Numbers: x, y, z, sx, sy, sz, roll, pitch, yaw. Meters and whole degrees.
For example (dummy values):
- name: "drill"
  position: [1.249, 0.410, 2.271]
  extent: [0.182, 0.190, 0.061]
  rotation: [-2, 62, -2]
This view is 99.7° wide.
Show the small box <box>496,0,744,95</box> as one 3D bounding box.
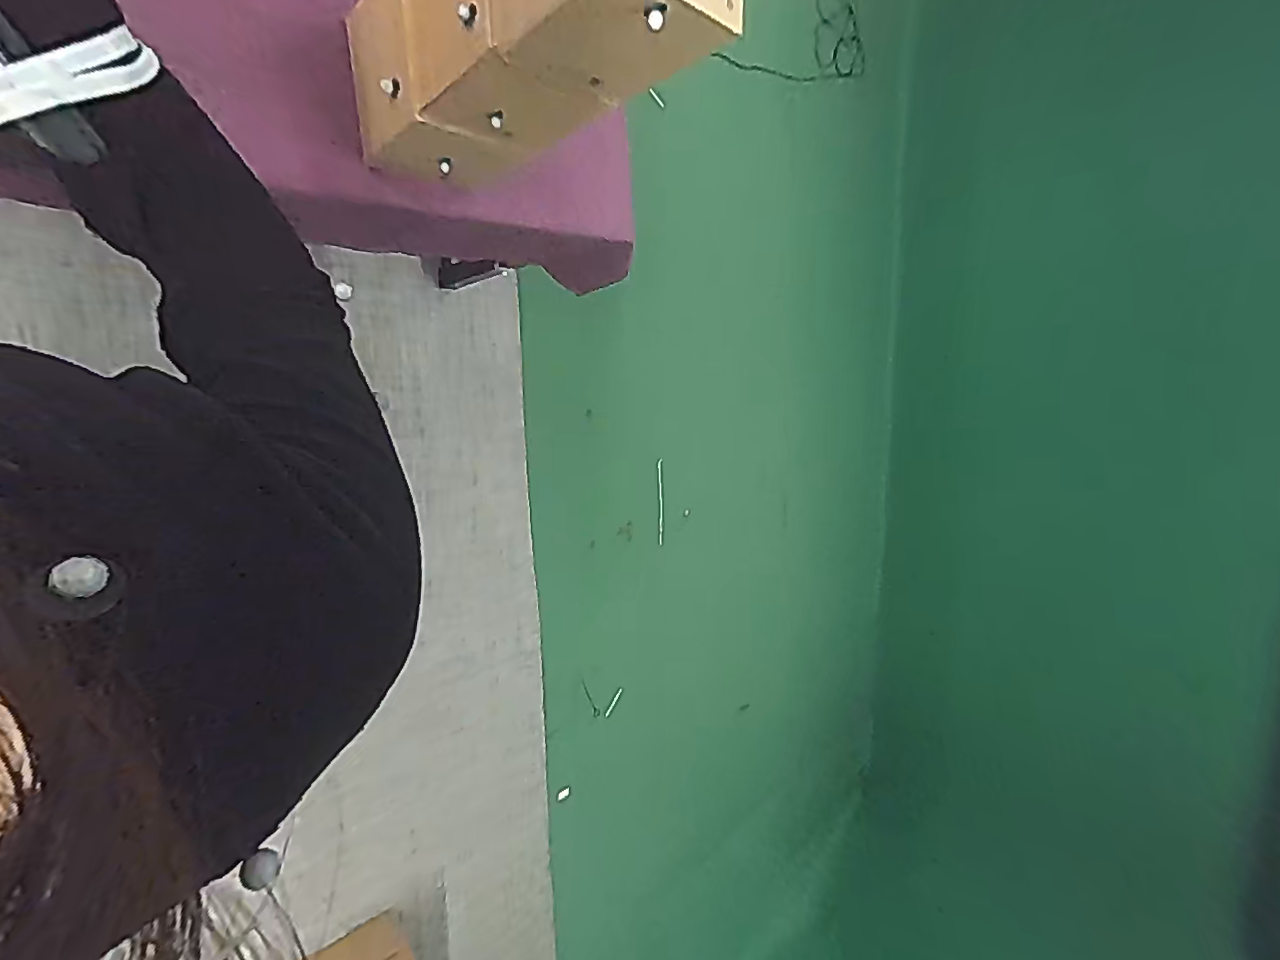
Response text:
- name: "small box"
  position: [-0.025, -0.496, 0.489]
  extent: [0.168, 0.176, 0.179]
  rotation: [-18, 108, -42]

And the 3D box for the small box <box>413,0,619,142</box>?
- name: "small box"
  position: [-0.142, -0.516, 0.603]
  extent: [0.168, 0.176, 0.179]
  rotation: [-14, 106, -44]

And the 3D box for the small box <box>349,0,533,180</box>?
- name: "small box"
  position: [-0.262, -0.523, 0.714]
  extent: [0.168, 0.176, 0.179]
  rotation: [-14, 105, -44]
